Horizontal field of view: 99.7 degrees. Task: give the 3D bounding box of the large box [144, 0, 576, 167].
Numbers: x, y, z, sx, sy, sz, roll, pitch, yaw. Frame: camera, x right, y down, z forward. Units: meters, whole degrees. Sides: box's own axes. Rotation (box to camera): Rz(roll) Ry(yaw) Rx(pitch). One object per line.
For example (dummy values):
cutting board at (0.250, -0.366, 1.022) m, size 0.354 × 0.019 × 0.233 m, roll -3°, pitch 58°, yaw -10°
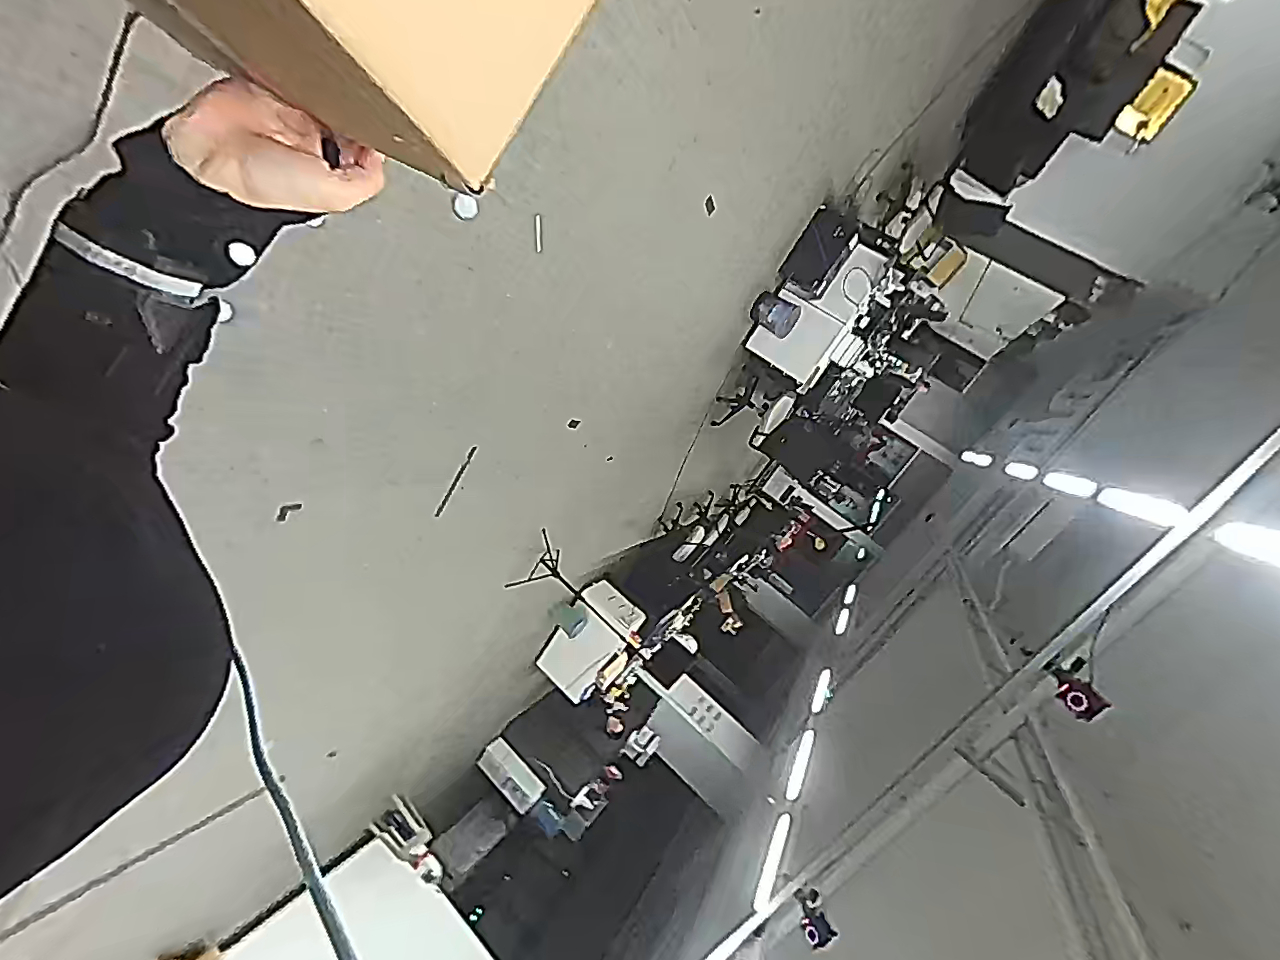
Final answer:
large box at (-0.179, -0.377, 0.114) m, size 0.320 × 0.320 × 0.408 m, roll -56°, pitch 158°, yaw 5°
